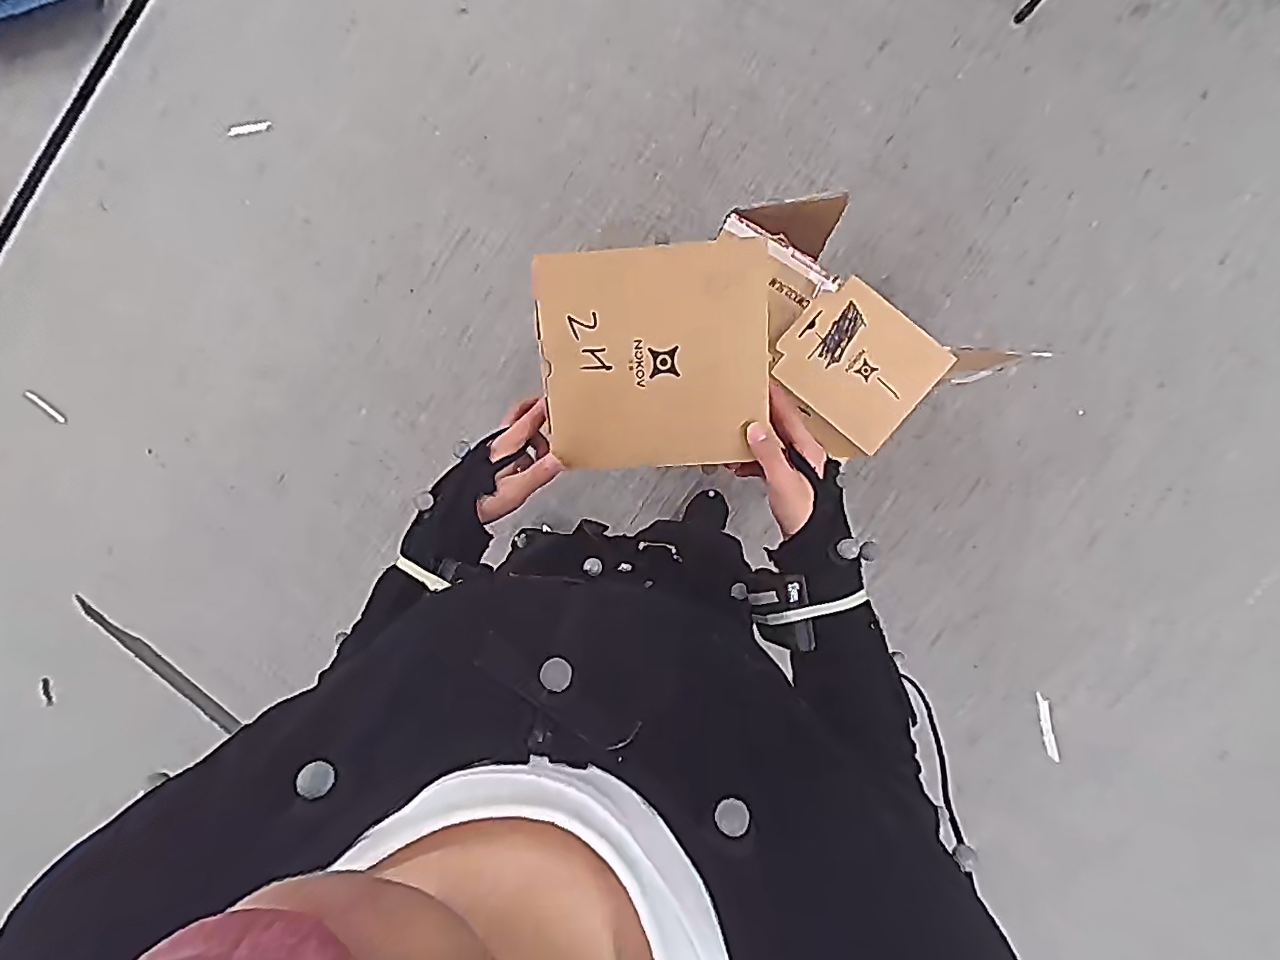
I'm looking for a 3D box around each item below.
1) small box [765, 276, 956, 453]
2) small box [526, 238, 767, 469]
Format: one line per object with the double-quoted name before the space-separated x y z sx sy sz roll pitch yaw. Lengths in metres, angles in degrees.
"small box" 0.293 -0.150 0.775 0.179 0.176 0.168 41 96 3
"small box" 0.013 -0.110 0.484 0.179 0.176 0.168 -2 103 6
